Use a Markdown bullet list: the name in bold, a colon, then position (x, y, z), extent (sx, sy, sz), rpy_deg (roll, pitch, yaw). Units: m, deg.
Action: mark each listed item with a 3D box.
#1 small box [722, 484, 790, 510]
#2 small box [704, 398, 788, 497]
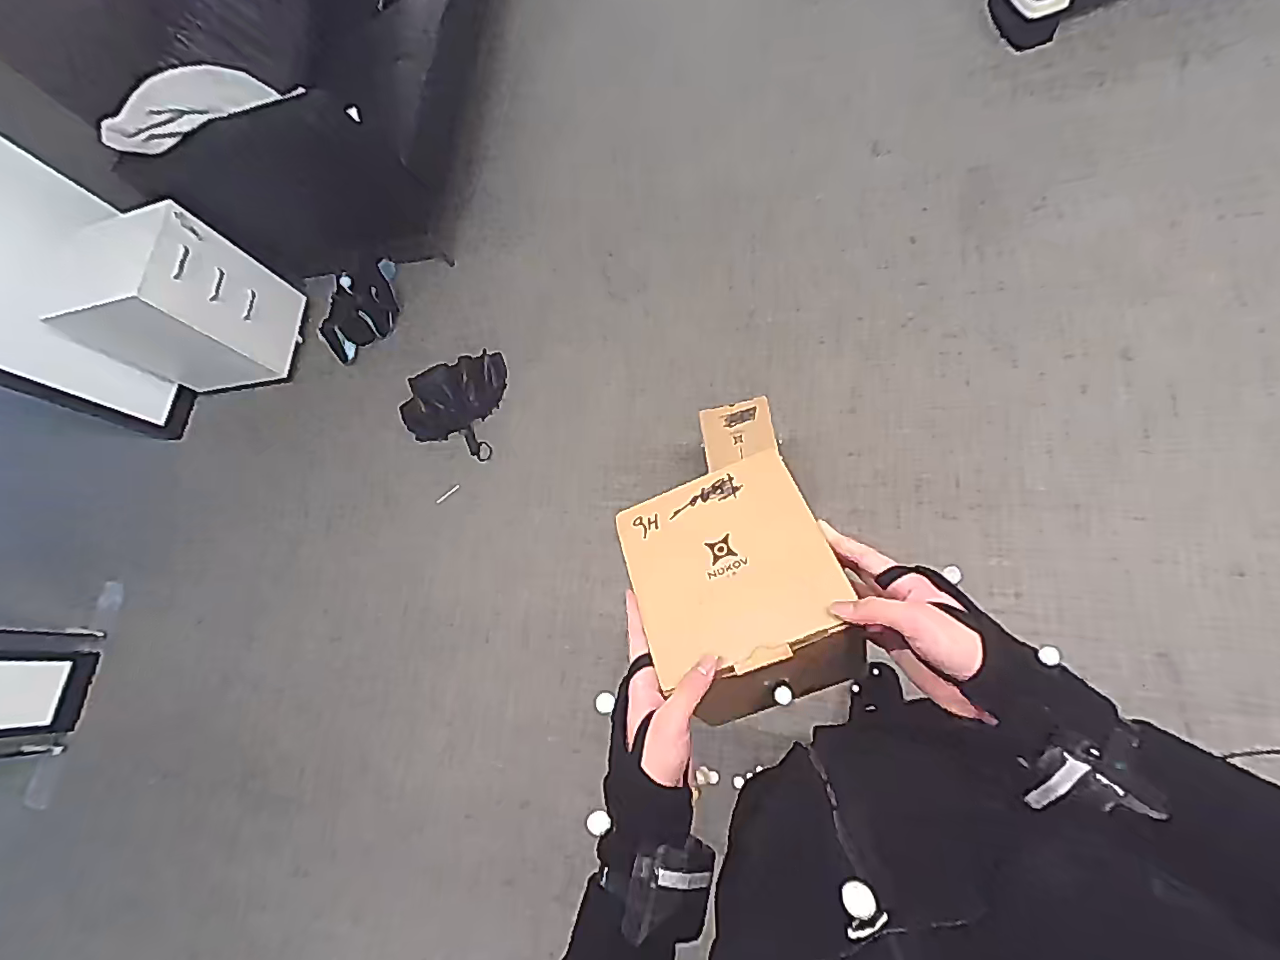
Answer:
- **small box**: position (0.308, -0.025, 1.473), extent (0.168, 0.176, 0.179), rpy_deg (-13, 67, 14)
- **small box**: position (0.262, -0.073, 1.323), extent (0.168, 0.176, 0.179), rpy_deg (-12, 70, 15)
